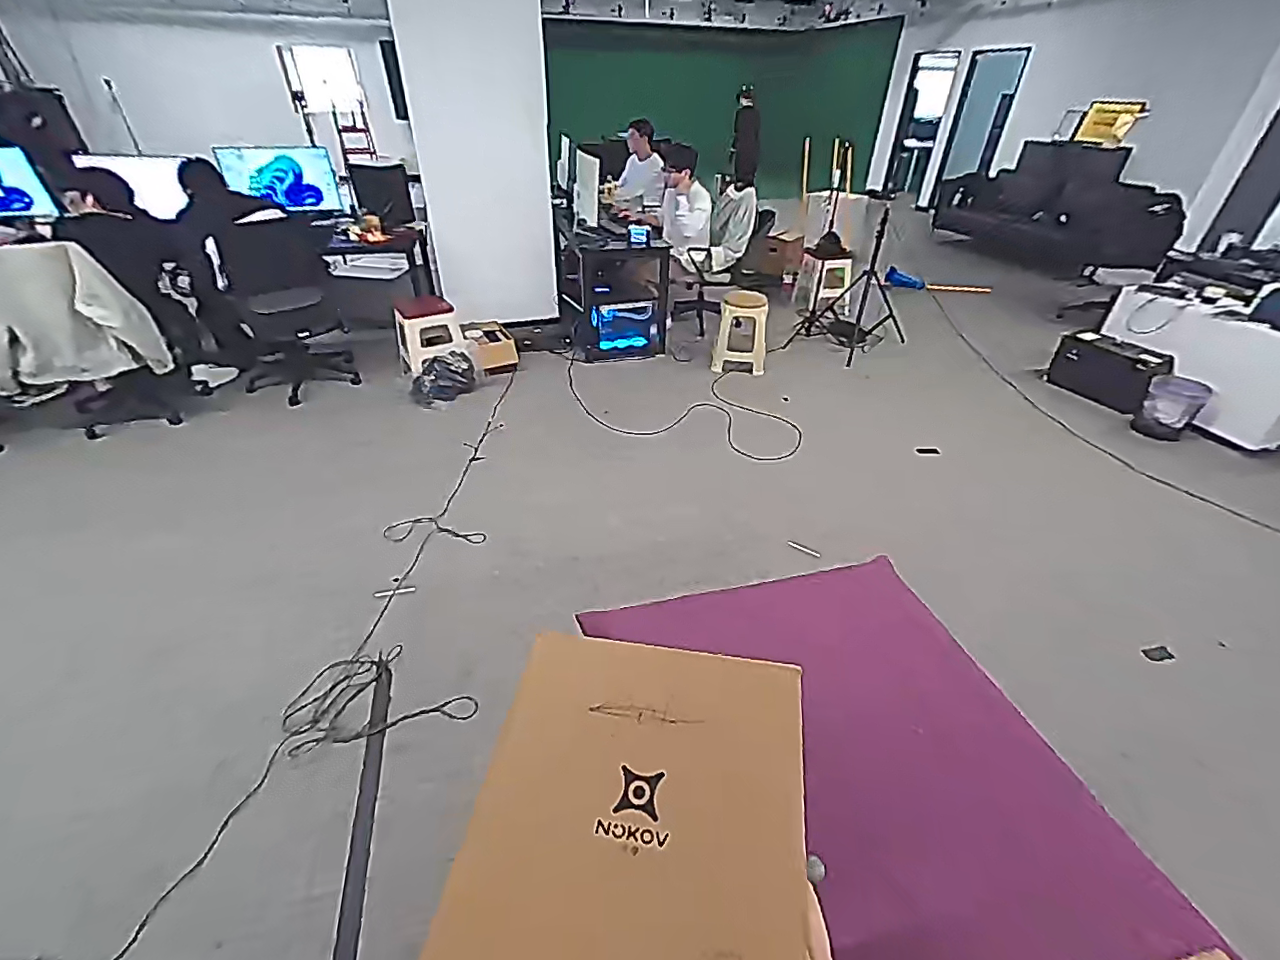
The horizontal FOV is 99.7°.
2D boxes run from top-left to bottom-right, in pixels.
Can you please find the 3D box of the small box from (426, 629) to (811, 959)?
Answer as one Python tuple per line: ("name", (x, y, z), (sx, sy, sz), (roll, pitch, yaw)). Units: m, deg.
("small box", (0.005, 0.220, 0.328), (0.168, 0.176, 0.179), (5, 42, 9))
